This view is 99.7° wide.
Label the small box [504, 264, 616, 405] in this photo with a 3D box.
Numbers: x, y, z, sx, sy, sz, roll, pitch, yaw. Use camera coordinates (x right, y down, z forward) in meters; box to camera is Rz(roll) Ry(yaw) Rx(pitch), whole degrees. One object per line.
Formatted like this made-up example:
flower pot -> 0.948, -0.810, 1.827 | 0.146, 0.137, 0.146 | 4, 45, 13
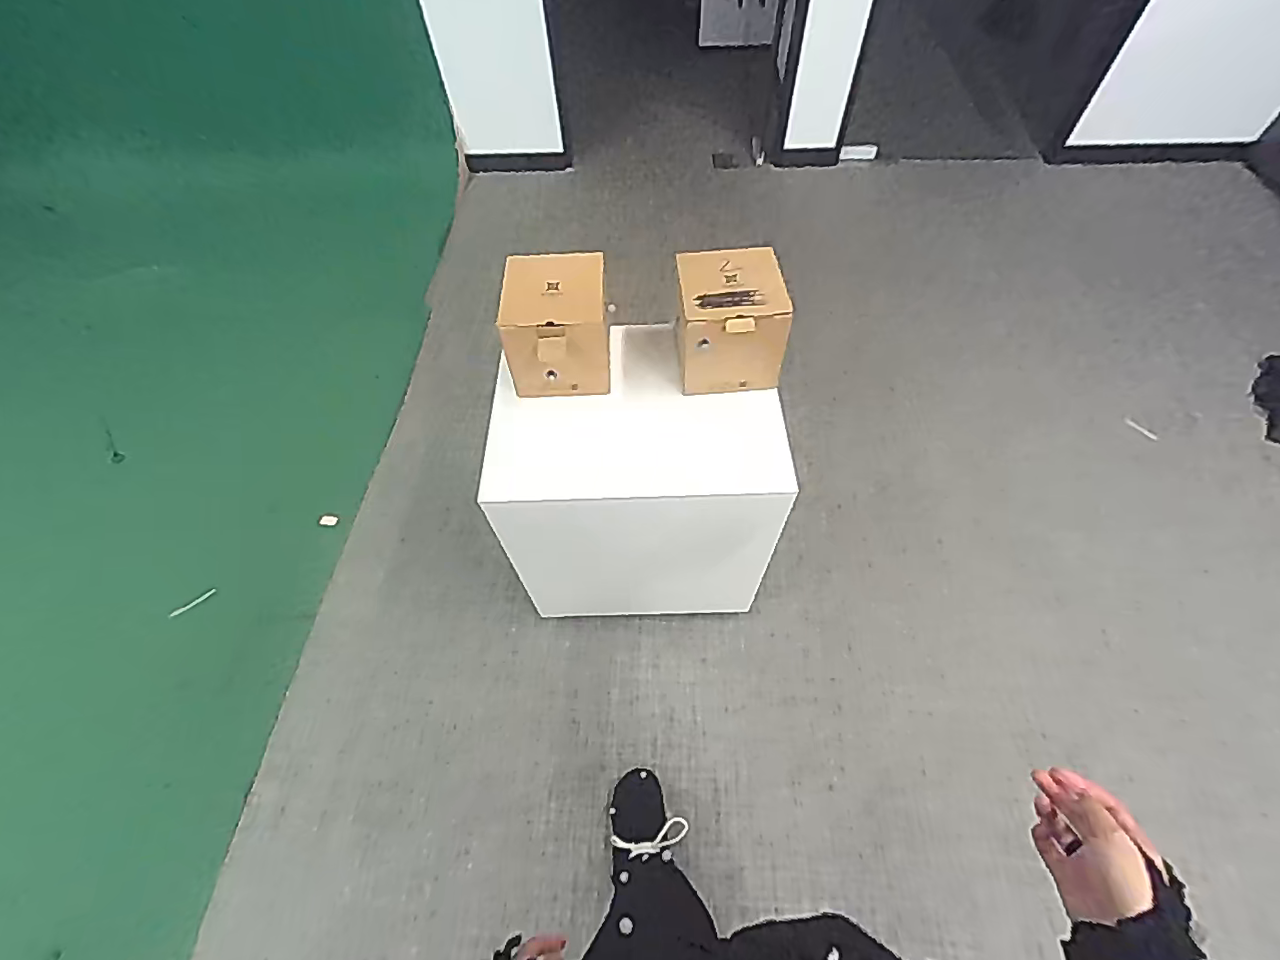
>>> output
small box -> -0.131, -0.252, 0.948 | 0.168, 0.176, 0.179 | -2, 58, 0
